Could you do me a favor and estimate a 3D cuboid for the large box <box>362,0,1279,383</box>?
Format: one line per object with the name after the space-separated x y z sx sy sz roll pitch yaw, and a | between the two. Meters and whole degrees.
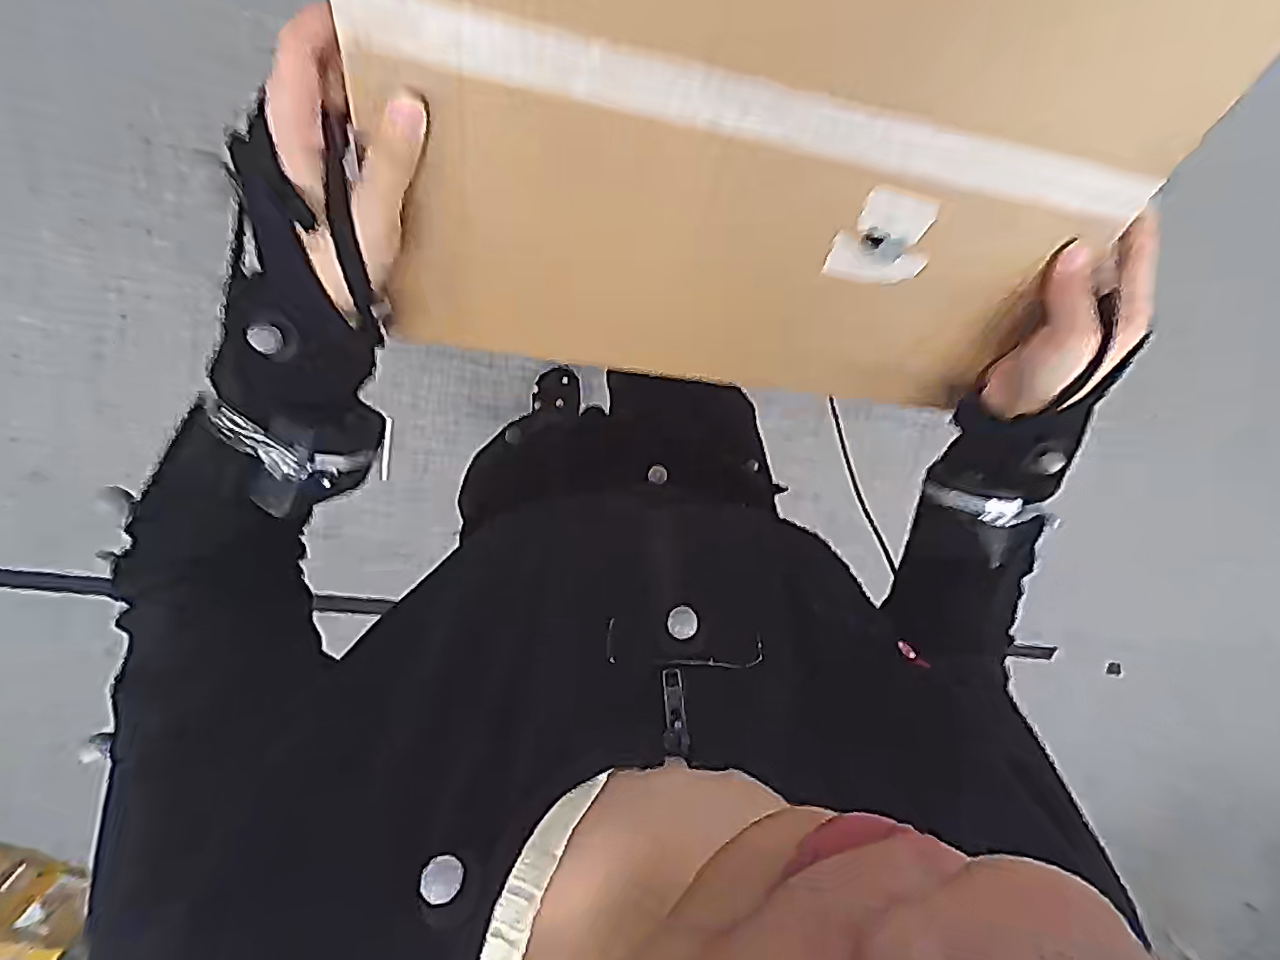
0.066 -0.293 0.346 0.408 0.320 0.320 3 140 -13 | large box
